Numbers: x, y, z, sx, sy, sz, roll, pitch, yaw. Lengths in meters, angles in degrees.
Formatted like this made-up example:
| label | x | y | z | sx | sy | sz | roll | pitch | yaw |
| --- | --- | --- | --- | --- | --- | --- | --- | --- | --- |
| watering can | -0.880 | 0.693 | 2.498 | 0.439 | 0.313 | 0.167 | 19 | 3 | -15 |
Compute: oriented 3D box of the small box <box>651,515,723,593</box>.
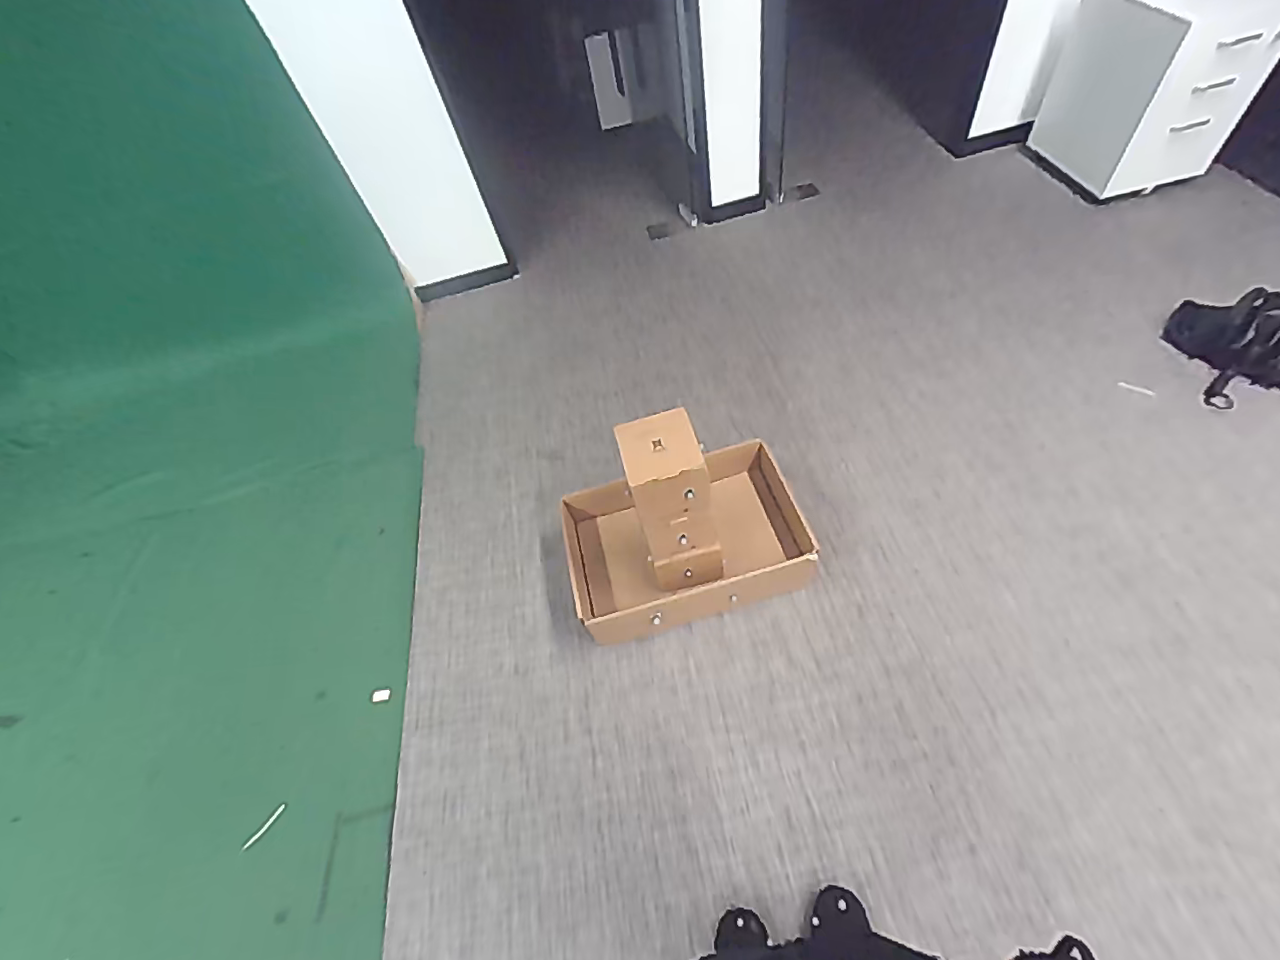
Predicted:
| label | x | y | z | sx | sy | sz | roll | pitch | yaw |
| --- | --- | --- | --- | --- | --- | --- | --- | --- | --- |
| small box | 0.118 | 0.181 | 1.459 | 0.179 | 0.176 | 0.168 | -16 | 53 | -1 |

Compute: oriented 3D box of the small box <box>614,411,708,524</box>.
| label | x | y | z | sx | sy | sz | roll | pitch | yaw |
| --- | --- | --- | --- | --- | --- | --- | --- | --- | --- |
| small box | 0.050 | -0.019 | 1.211 | 0.168 | 0.176 | 0.179 | -16 | 52 | -1 |

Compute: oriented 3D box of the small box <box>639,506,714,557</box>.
| label | x | y | z | sx | sy | sz | roll | pitch | yaw |
| --- | --- | --- | --- | --- | --- | --- | --- | --- | --- |
| small box | 0.080 | 0.074 | 1.342 | 0.168 | 0.176 | 0.179 | -16 | 53 | 0 |
